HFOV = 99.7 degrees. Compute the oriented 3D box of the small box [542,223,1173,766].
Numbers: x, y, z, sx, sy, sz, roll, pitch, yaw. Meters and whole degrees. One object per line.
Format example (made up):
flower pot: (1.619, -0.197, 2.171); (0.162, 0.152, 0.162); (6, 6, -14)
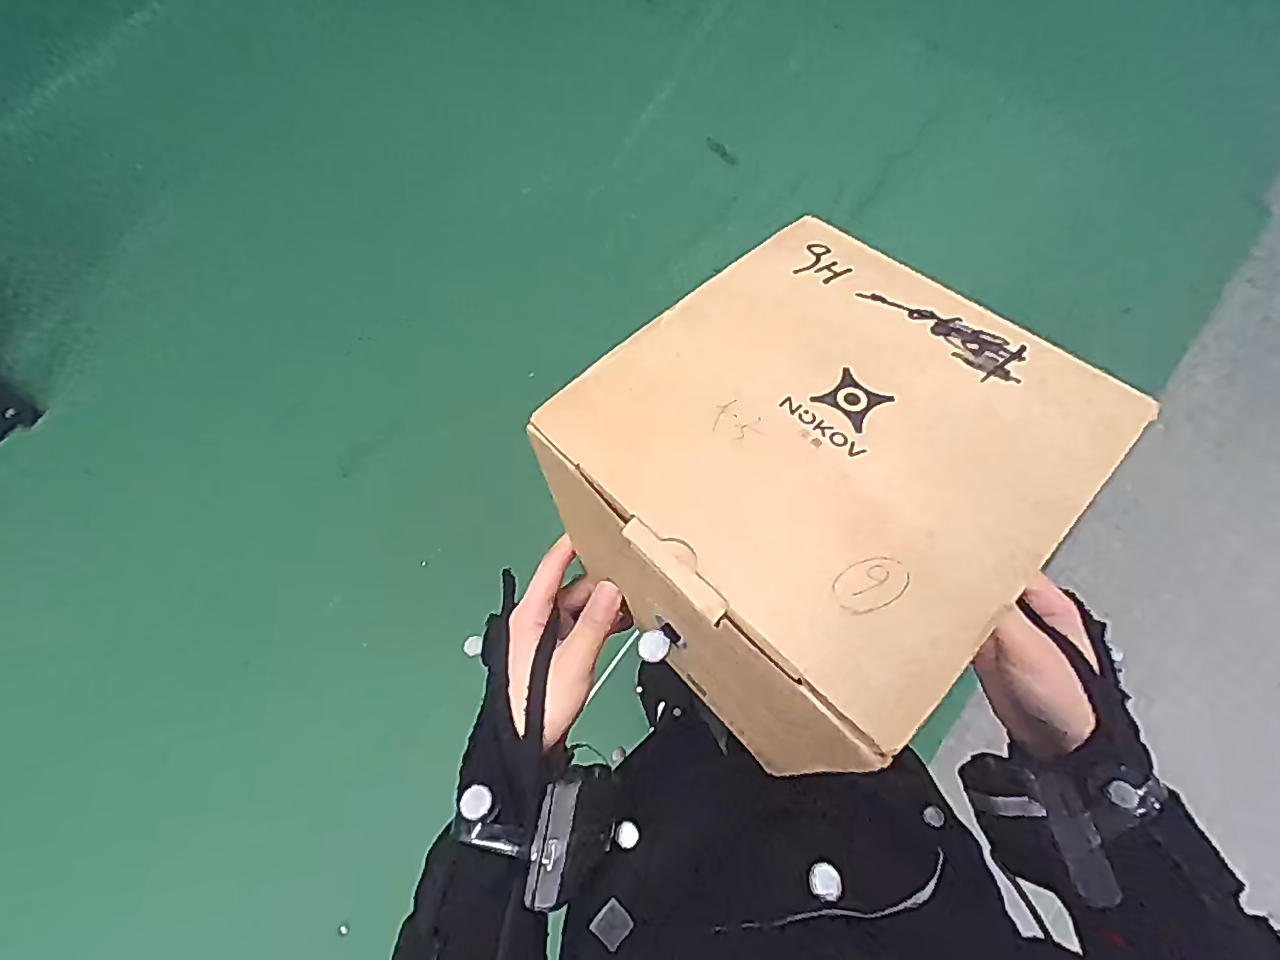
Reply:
small box: (0.082, 0.018, 0.273); (0.179, 0.176, 0.168); (-39, 65, -17)
